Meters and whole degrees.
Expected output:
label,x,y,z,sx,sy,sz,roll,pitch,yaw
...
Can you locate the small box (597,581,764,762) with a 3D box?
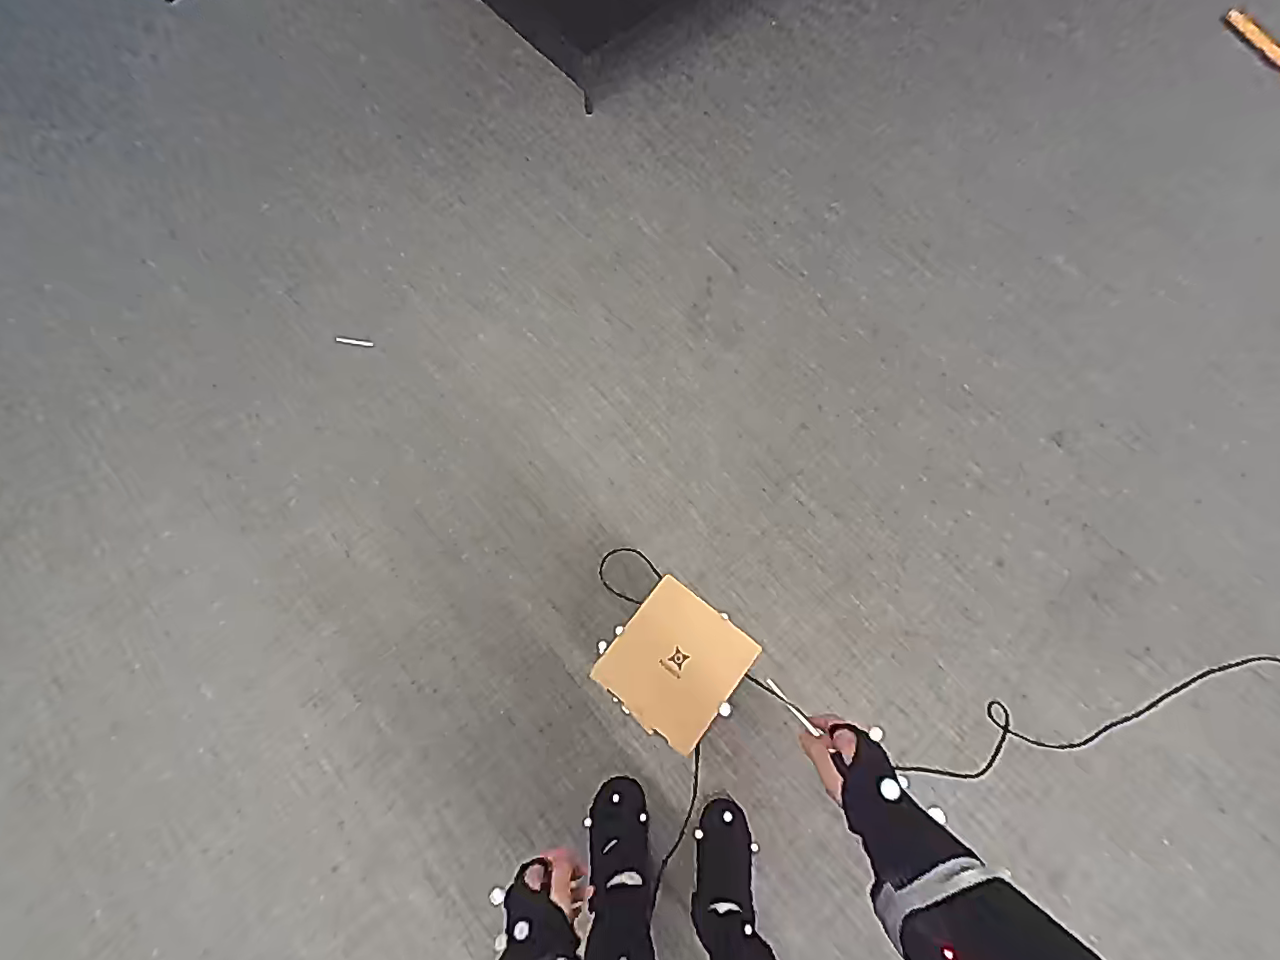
label,x,y,z,sx,sy,sz,roll,pitch,yaw
small box,0.055,0.277,0.807,0.168,0.176,0.179,36,77,12
